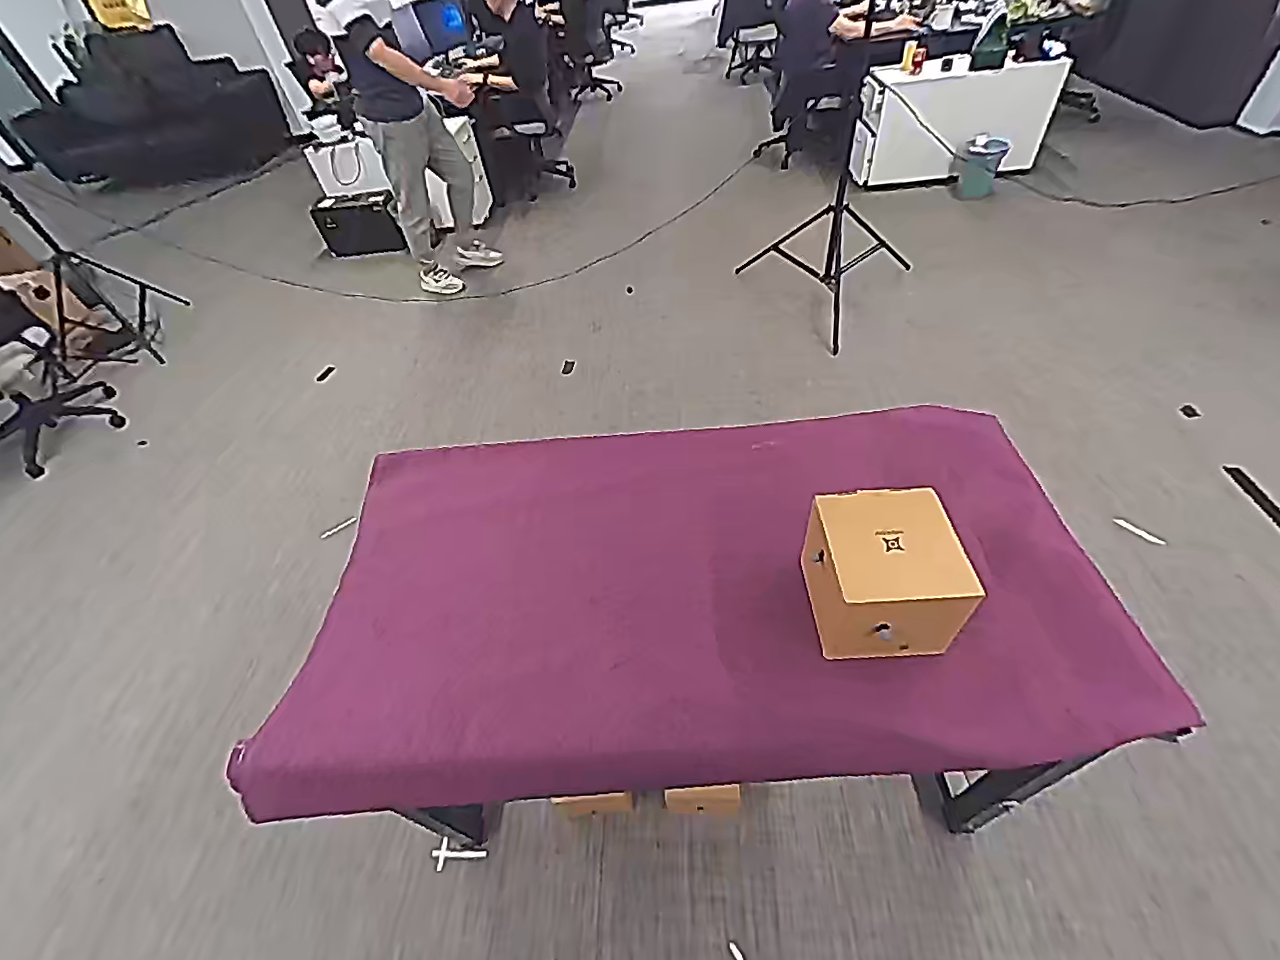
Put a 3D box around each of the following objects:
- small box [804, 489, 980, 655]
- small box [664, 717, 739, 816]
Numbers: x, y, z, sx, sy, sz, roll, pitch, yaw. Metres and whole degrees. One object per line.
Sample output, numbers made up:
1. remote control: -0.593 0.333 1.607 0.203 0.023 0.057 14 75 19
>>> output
1. small box: 0.338 0.137 0.768 0.168 0.176 0.179 -5 47 4
2. small box: 0.147 0.684 1.287 0.168 0.176 0.179 -2 47 6
